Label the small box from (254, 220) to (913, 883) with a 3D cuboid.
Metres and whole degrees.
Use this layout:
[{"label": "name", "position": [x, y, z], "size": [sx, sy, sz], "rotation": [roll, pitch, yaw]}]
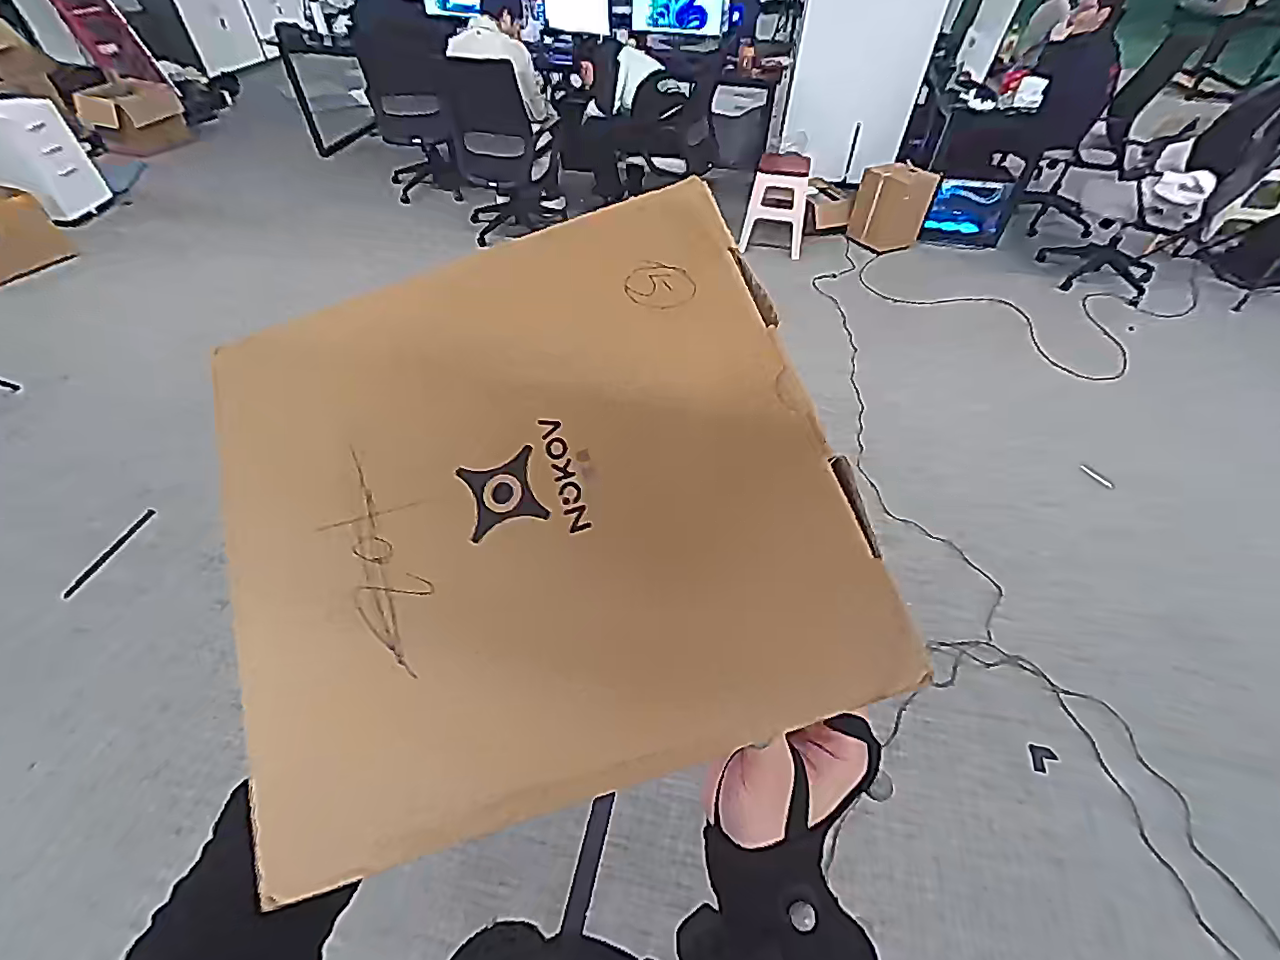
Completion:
[{"label": "small box", "position": [-0.022, 0.031, 0.245], "size": [0.179, 0.176, 0.168], "rotation": [-21, 72, 1]}]
